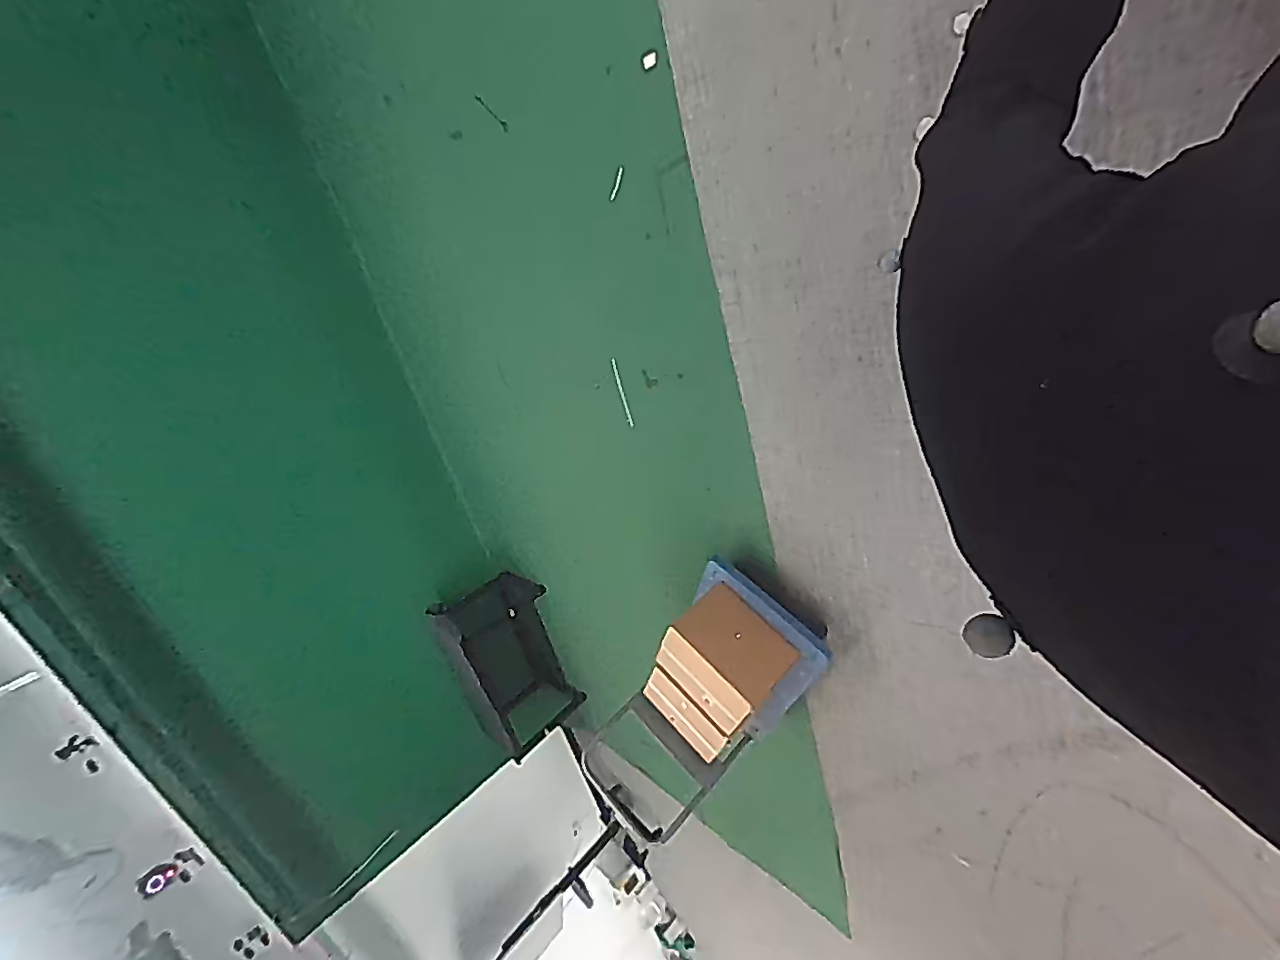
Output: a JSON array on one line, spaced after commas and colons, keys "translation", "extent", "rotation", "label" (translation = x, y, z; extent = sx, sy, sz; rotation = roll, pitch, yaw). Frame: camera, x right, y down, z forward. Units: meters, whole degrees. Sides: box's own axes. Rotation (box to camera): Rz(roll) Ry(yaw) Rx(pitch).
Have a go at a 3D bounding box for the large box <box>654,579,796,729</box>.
[{"translation": [0.323, 0.674, 2.125], "extent": [0.408, 0.320, 0.320], "rotation": [41, 143, 22], "label": "large box"}]
